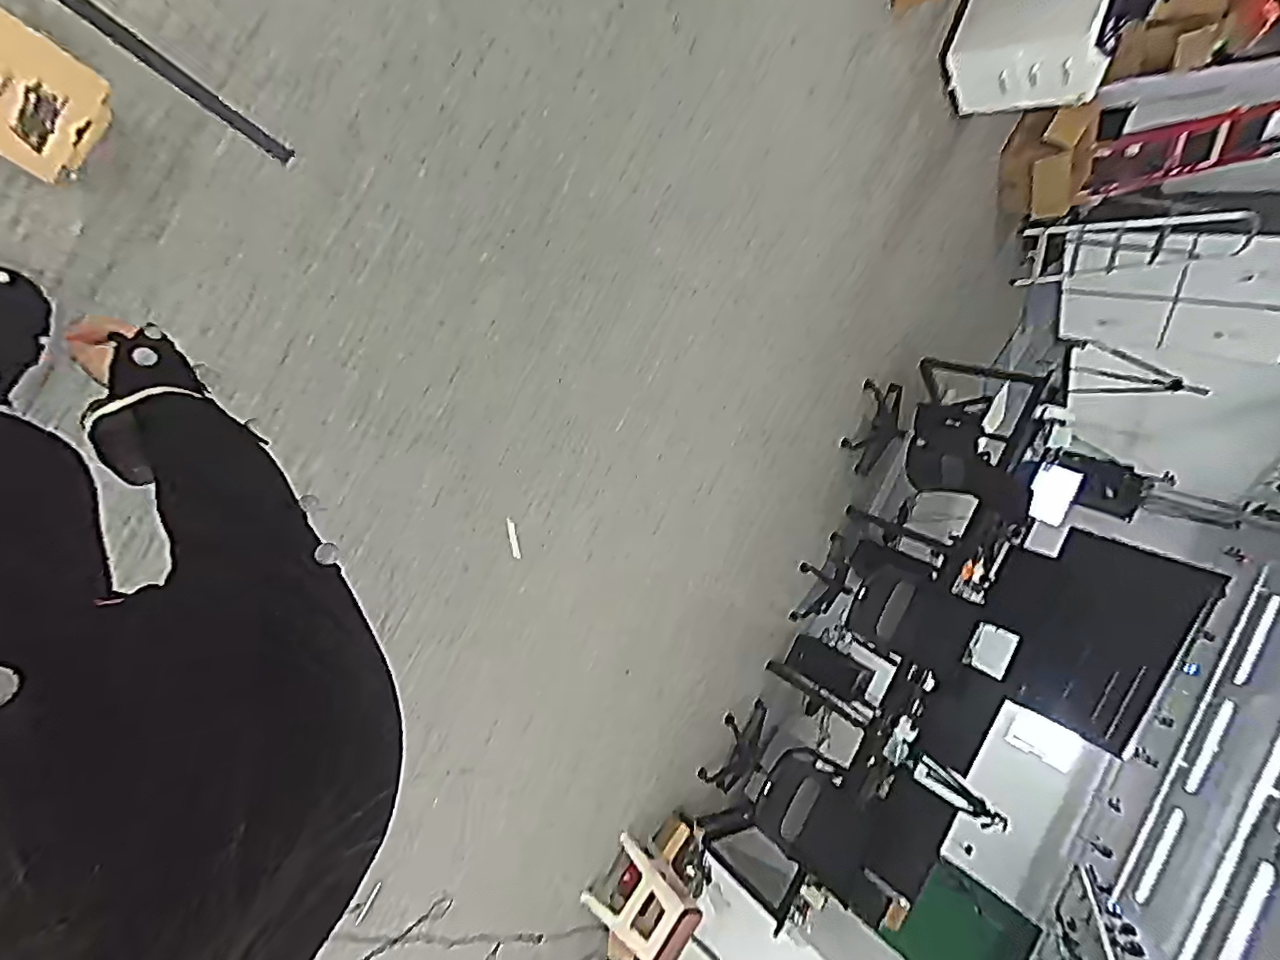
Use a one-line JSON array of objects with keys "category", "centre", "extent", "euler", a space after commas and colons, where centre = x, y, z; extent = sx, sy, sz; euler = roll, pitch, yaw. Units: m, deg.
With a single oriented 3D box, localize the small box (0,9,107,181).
[{"category": "small box", "centre": [-0.888, -0.542, 0.742], "extent": [0.179, 0.176, 0.168], "euler": [33, 84, -49]}]
